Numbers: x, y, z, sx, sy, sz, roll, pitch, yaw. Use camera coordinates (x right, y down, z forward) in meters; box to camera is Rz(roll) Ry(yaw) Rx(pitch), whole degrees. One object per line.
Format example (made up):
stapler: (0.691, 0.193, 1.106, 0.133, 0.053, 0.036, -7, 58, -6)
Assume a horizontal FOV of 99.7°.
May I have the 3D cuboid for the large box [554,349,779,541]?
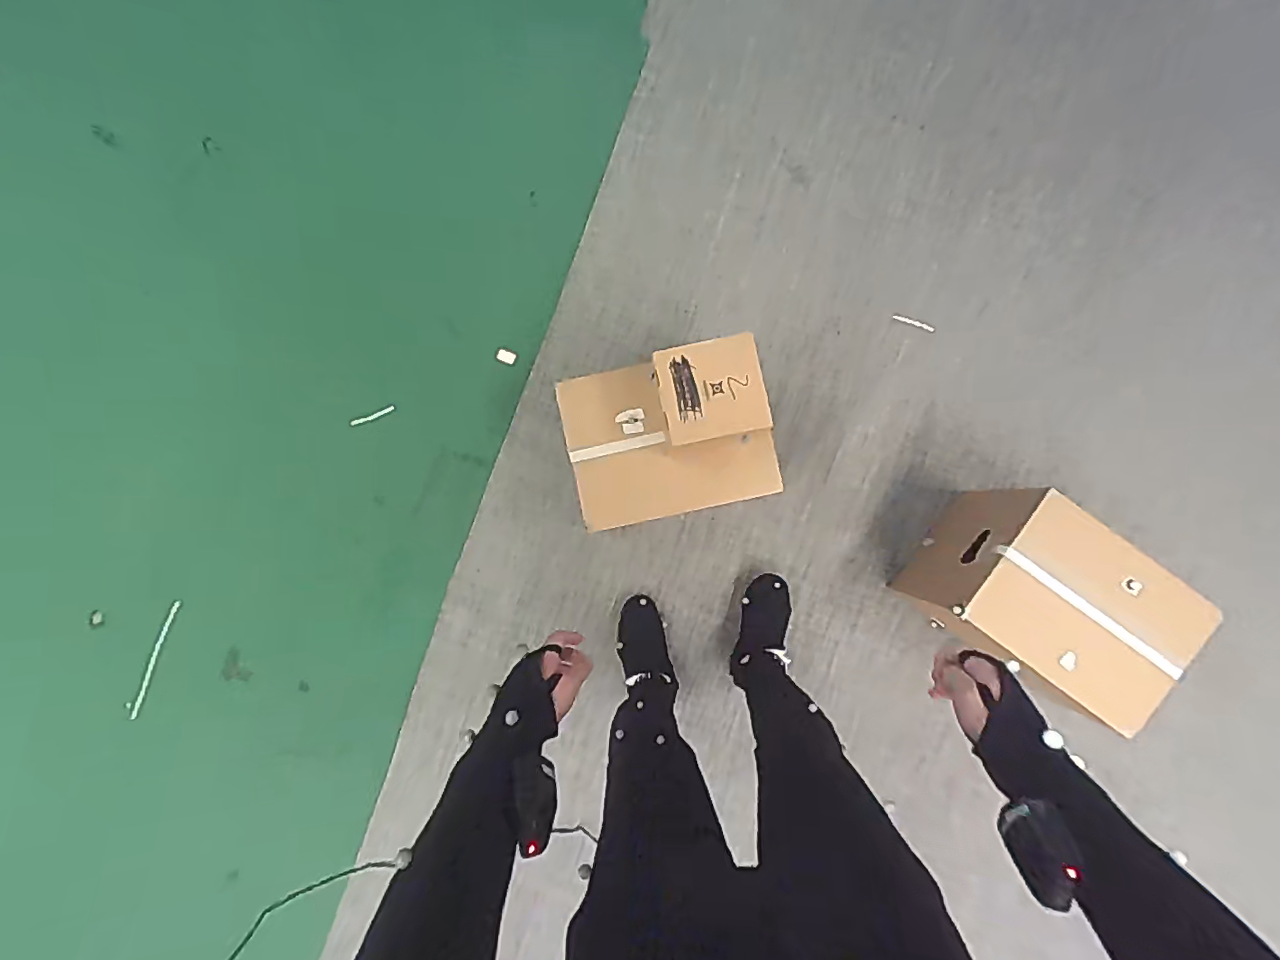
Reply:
large box: (0.055, -0.066, 1.224, 0.408, 0.320, 0.320, -12, 86, 1)
